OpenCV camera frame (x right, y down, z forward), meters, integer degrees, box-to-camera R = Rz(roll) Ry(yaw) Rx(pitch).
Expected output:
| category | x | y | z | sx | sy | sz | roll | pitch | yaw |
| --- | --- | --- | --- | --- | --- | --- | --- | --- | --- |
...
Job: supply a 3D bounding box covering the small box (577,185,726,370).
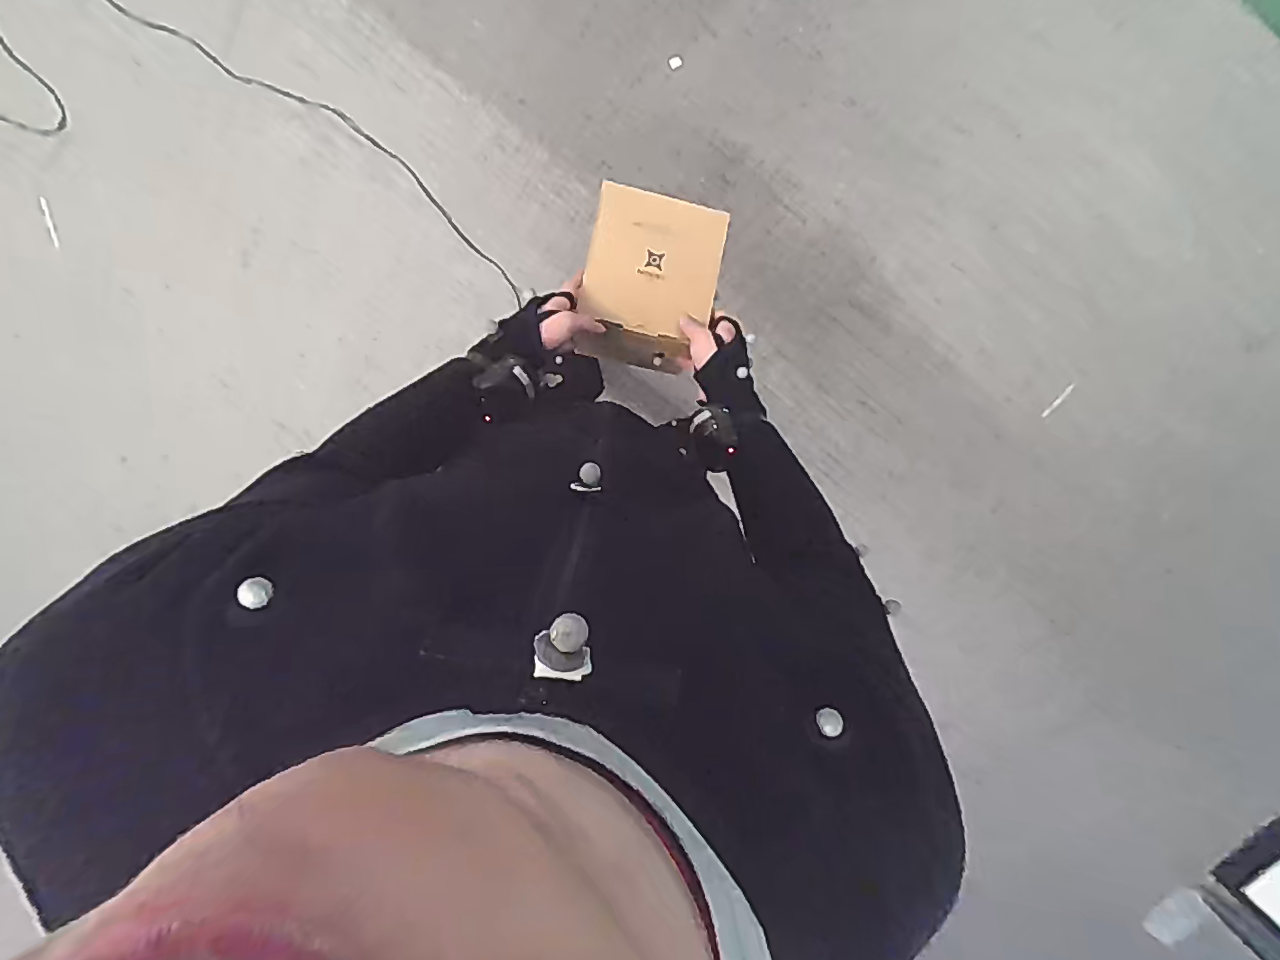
| category | x | y | z | sx | sy | sz | roll | pitch | yaw |
| --- | --- | --- | --- | --- | --- | --- | --- | --- | --- |
| small box | 0.008 | -0.267 | 0.756 | 0.168 | 0.176 | 0.179 | 10 | 86 | -7 |
